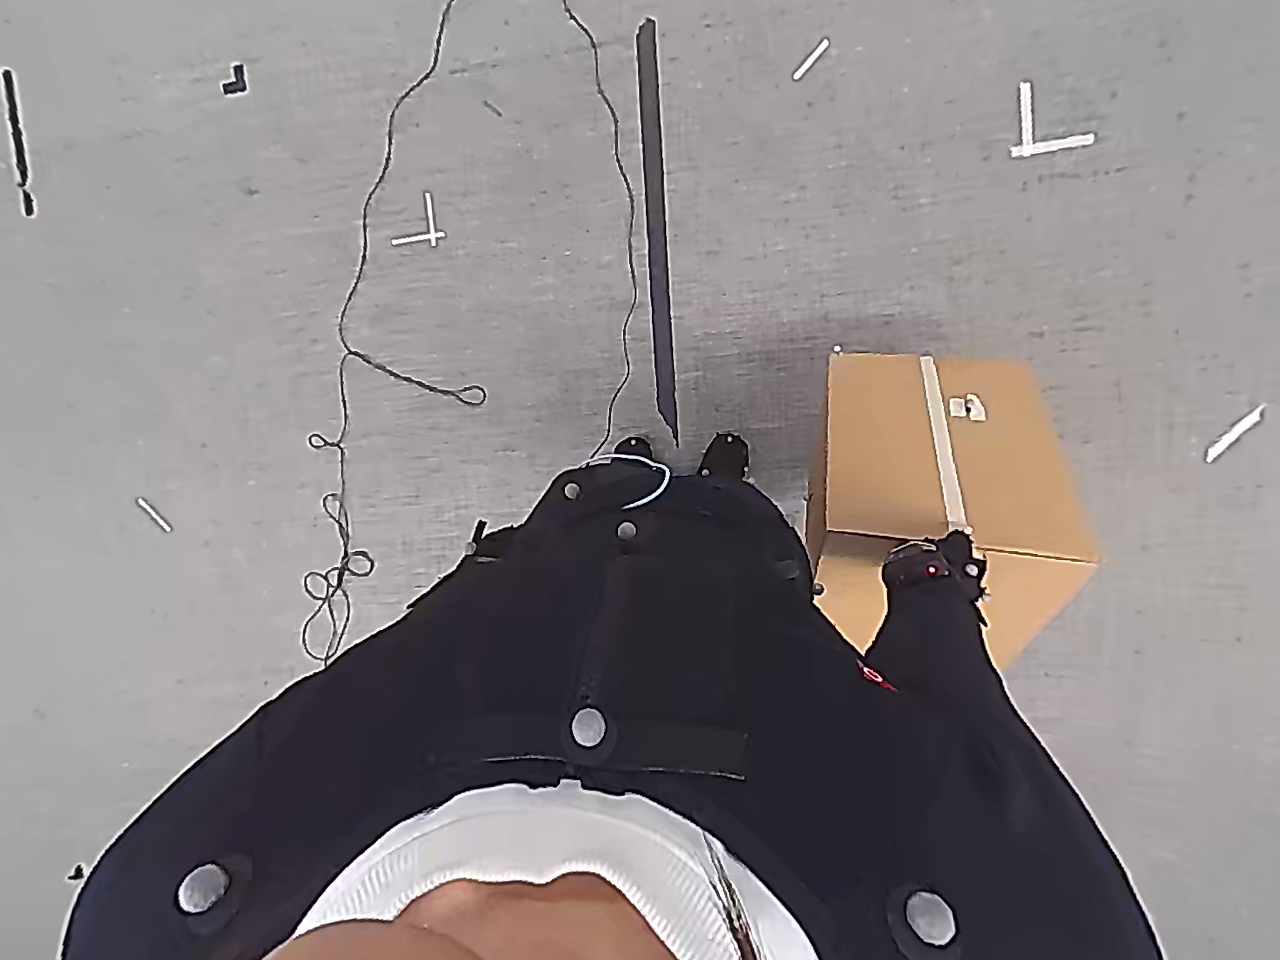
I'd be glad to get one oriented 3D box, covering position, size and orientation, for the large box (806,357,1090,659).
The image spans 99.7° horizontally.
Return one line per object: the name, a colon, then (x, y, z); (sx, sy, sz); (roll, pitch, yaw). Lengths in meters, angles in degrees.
large box: (0.457, 0.038, 0.923); (0.320, 0.408, 0.320); (6, 138, 12)
